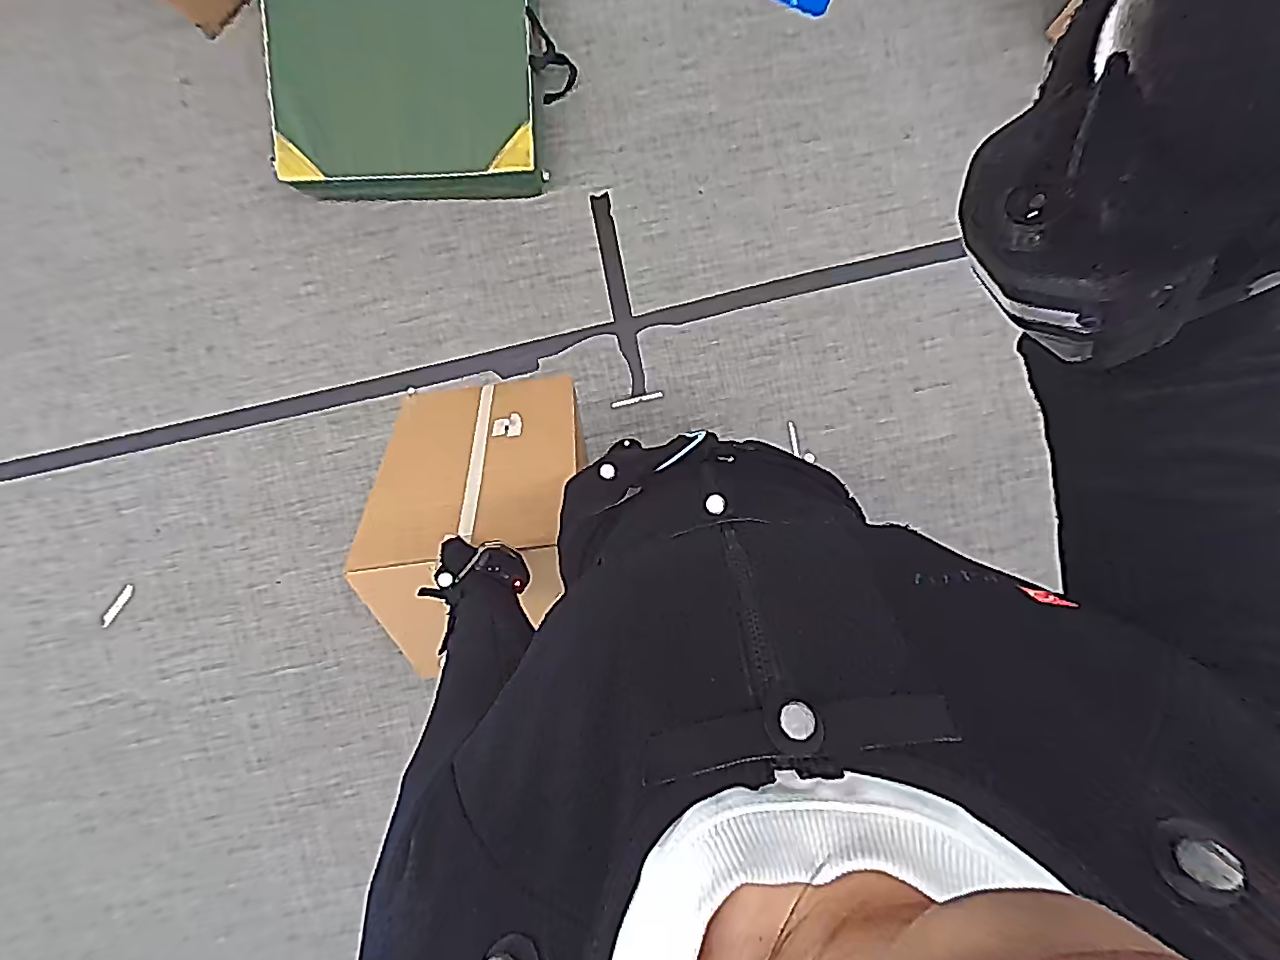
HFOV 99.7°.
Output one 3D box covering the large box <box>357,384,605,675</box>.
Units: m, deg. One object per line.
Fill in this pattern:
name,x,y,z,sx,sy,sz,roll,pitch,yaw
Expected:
large box,-0.245,0.080,0.981,0.320,0.408,0.320,-7,133,-1
